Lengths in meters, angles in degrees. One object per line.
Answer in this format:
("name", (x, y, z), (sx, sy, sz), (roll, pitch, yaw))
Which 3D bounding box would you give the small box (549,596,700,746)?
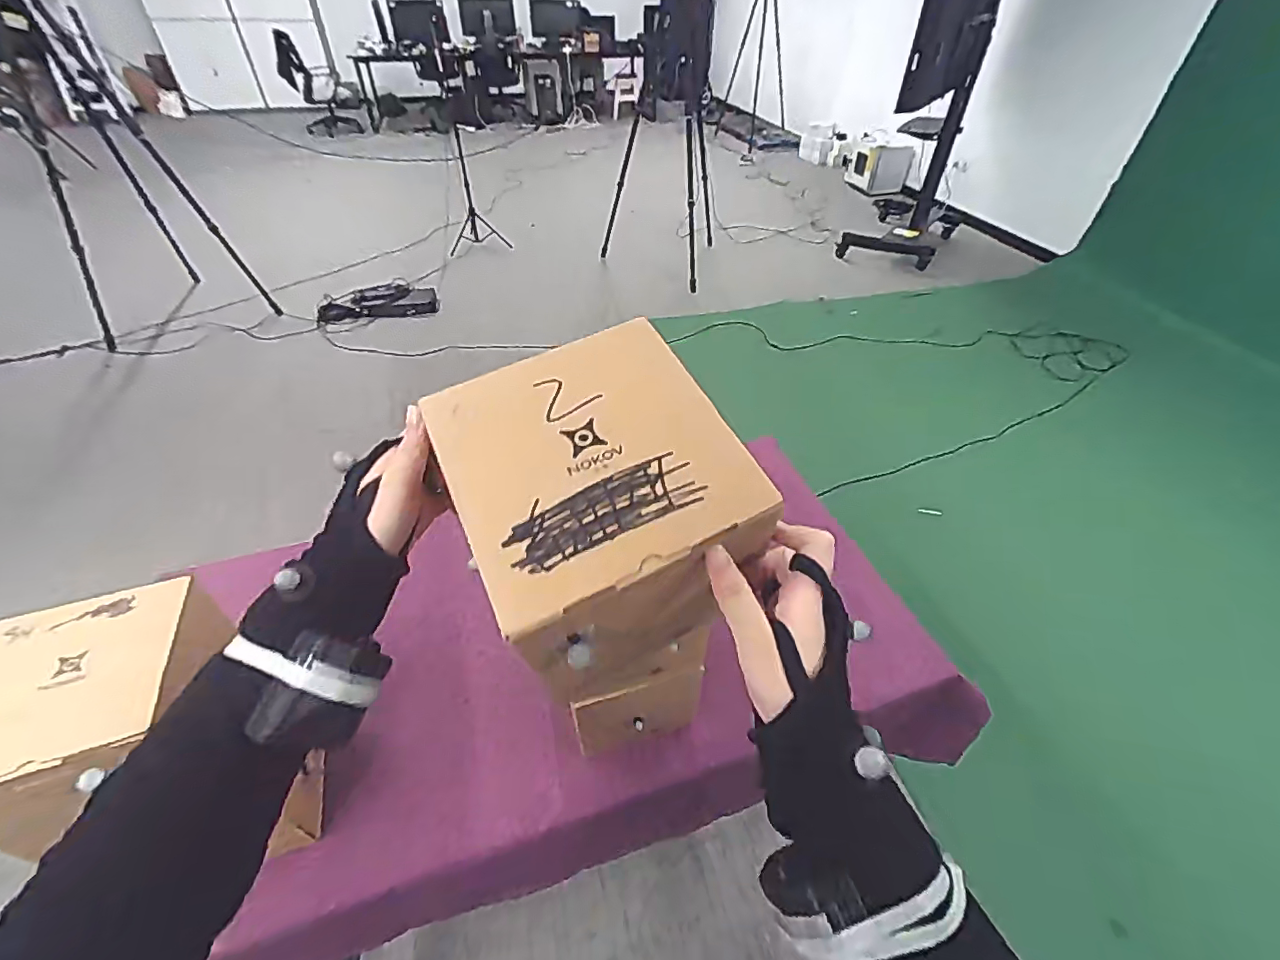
("small box", (-0.025, 0.249, 0.760), (0.168, 0.176, 0.179), (-12, 44, -13))

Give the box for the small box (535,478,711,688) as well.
("small box", (-0.024, 0.127, 0.651), (0.168, 0.176, 0.179), (-10, 44, -11))

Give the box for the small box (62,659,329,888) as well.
("small box", (-0.505, 0.353, 0.652), (0.179, 0.176, 0.168), (-13, 45, -15))

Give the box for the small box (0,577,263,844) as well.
("small box", (-0.510, 0.232, 0.540), (0.168, 0.176, 0.179), (-13, 45, -16))
